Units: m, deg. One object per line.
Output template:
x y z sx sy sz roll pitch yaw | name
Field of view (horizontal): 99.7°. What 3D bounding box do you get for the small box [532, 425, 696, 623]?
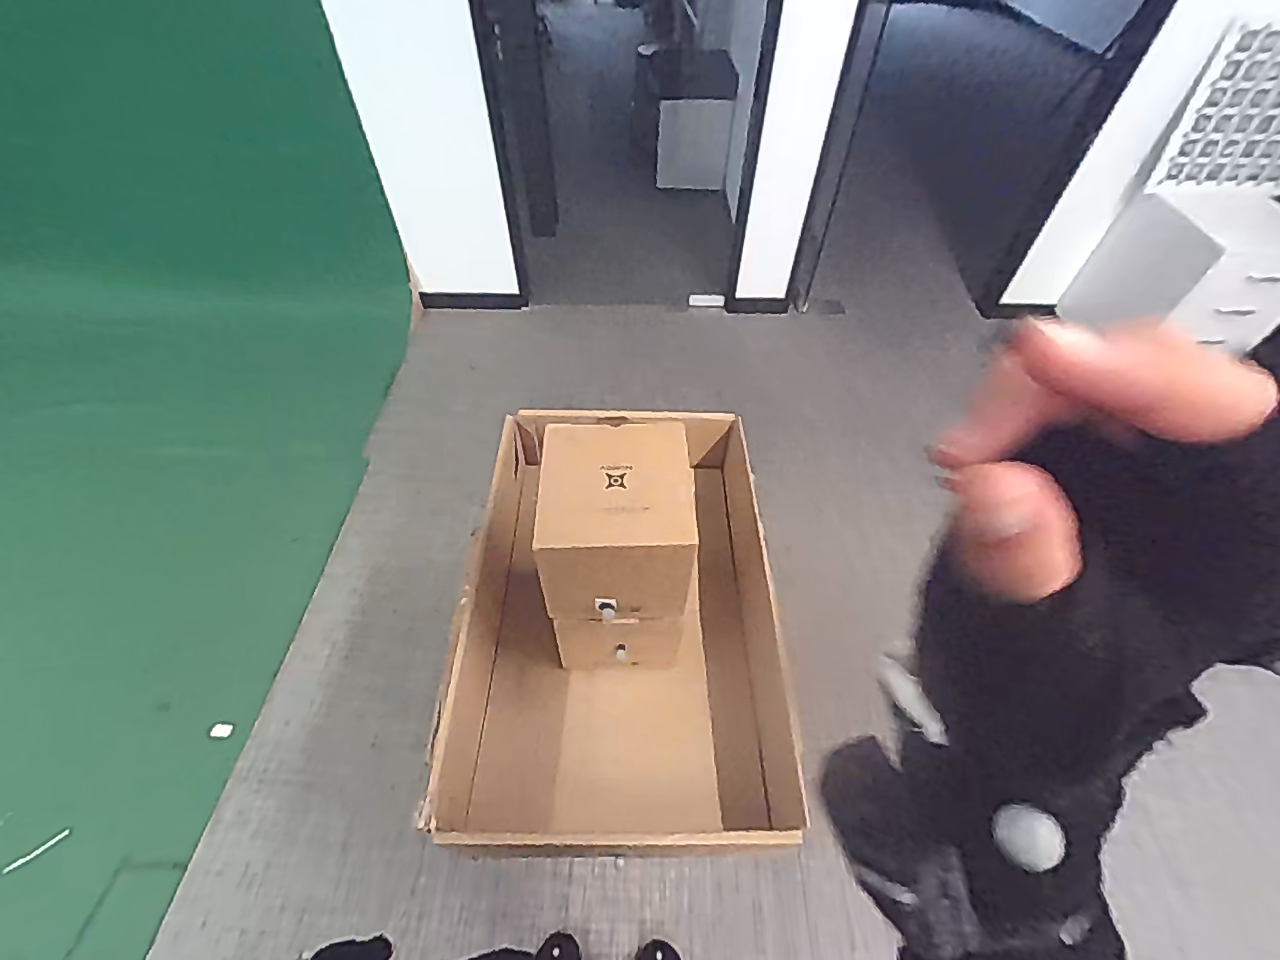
-0.030 0.054 0.646 0.168 0.176 0.179 -2 51 -2 | small box
